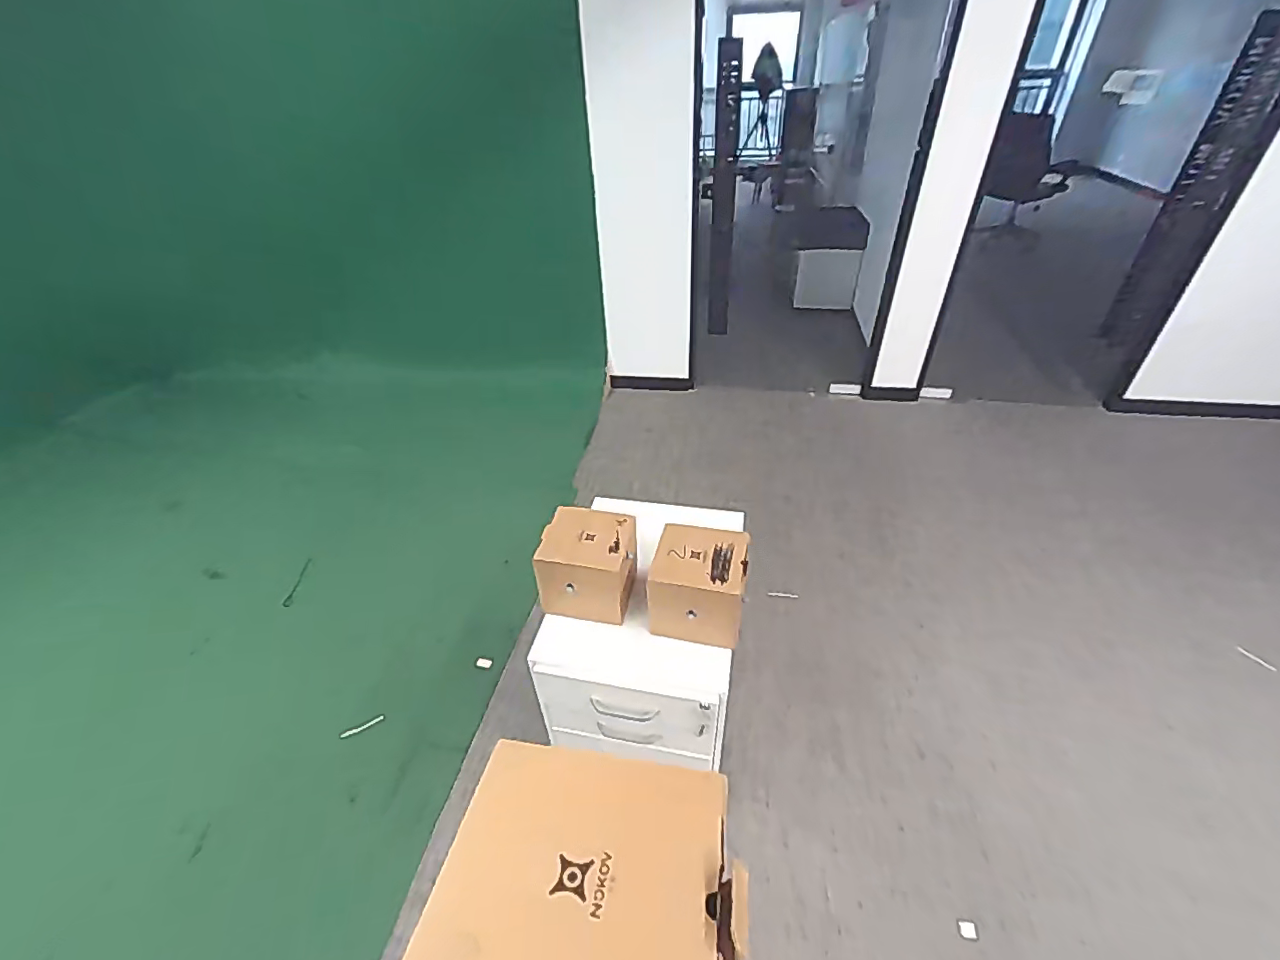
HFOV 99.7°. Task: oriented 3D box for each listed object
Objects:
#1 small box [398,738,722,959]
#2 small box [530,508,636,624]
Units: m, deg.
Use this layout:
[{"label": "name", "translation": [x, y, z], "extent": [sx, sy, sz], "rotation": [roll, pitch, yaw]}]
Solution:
[{"label": "small box", "translation": [-0.038, 0.315, 0.376], "extent": [0.179, 0.176, 0.168], "rotation": [5, 29, 8]}, {"label": "small box", "translation": [-0.111, 0.183, 1.144], "extent": [0.179, 0.176, 0.168], "rotation": [6, 39, 10]}]
